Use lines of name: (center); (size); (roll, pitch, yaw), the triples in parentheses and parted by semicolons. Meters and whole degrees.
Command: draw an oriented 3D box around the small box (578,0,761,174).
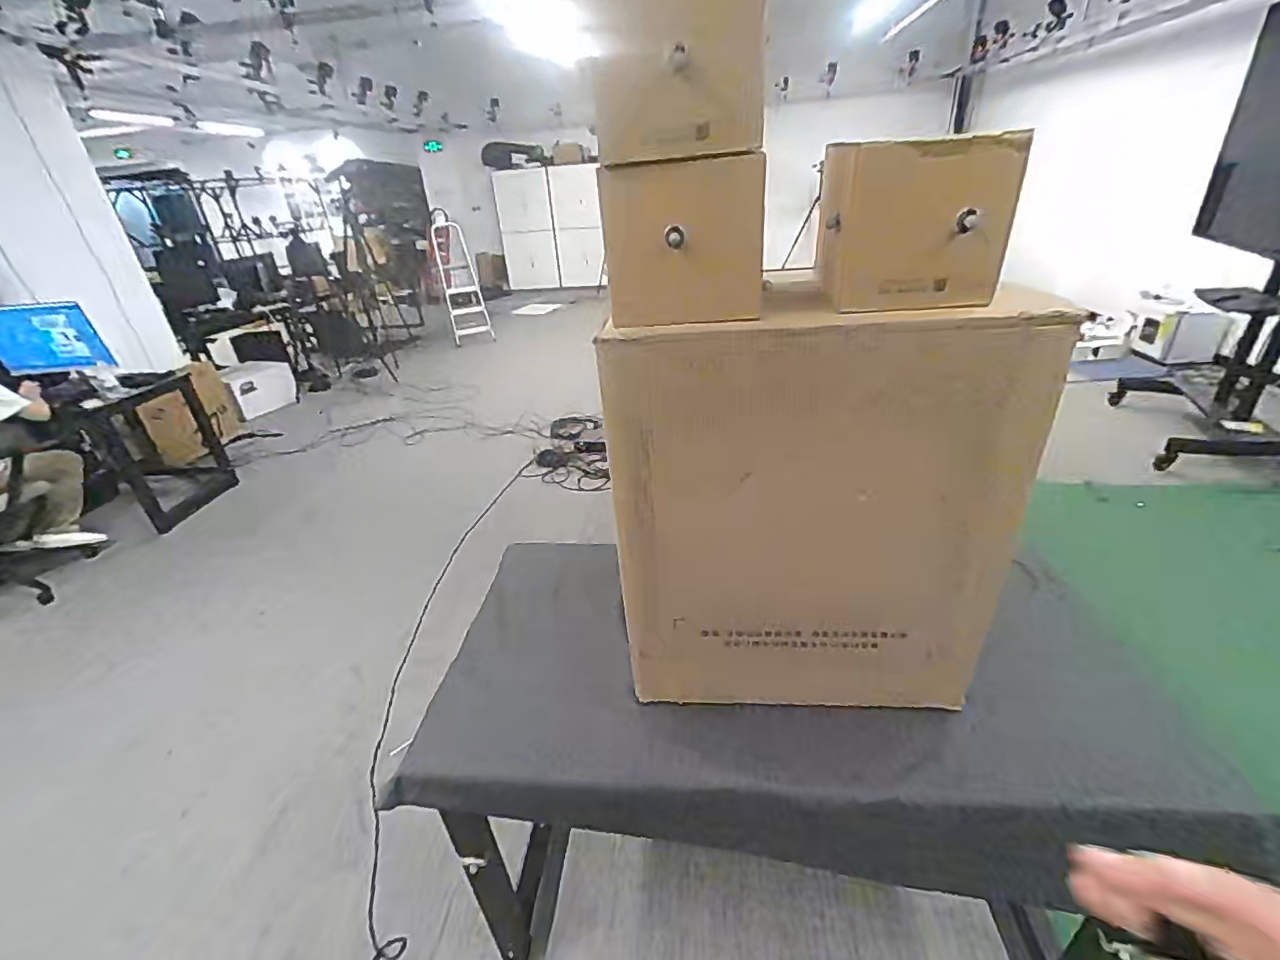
small box: (0.036, -0.426, 0.574); (0.168, 0.176, 0.179); (-3, 31, 4)

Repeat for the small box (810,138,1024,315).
small box: (0.304, -0.296, 0.639); (0.168, 0.176, 0.179); (0, 30, 6)

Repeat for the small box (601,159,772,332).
small box: (0.053, -0.286, 0.656); (0.179, 0.176, 0.168); (-2, 31, 3)
